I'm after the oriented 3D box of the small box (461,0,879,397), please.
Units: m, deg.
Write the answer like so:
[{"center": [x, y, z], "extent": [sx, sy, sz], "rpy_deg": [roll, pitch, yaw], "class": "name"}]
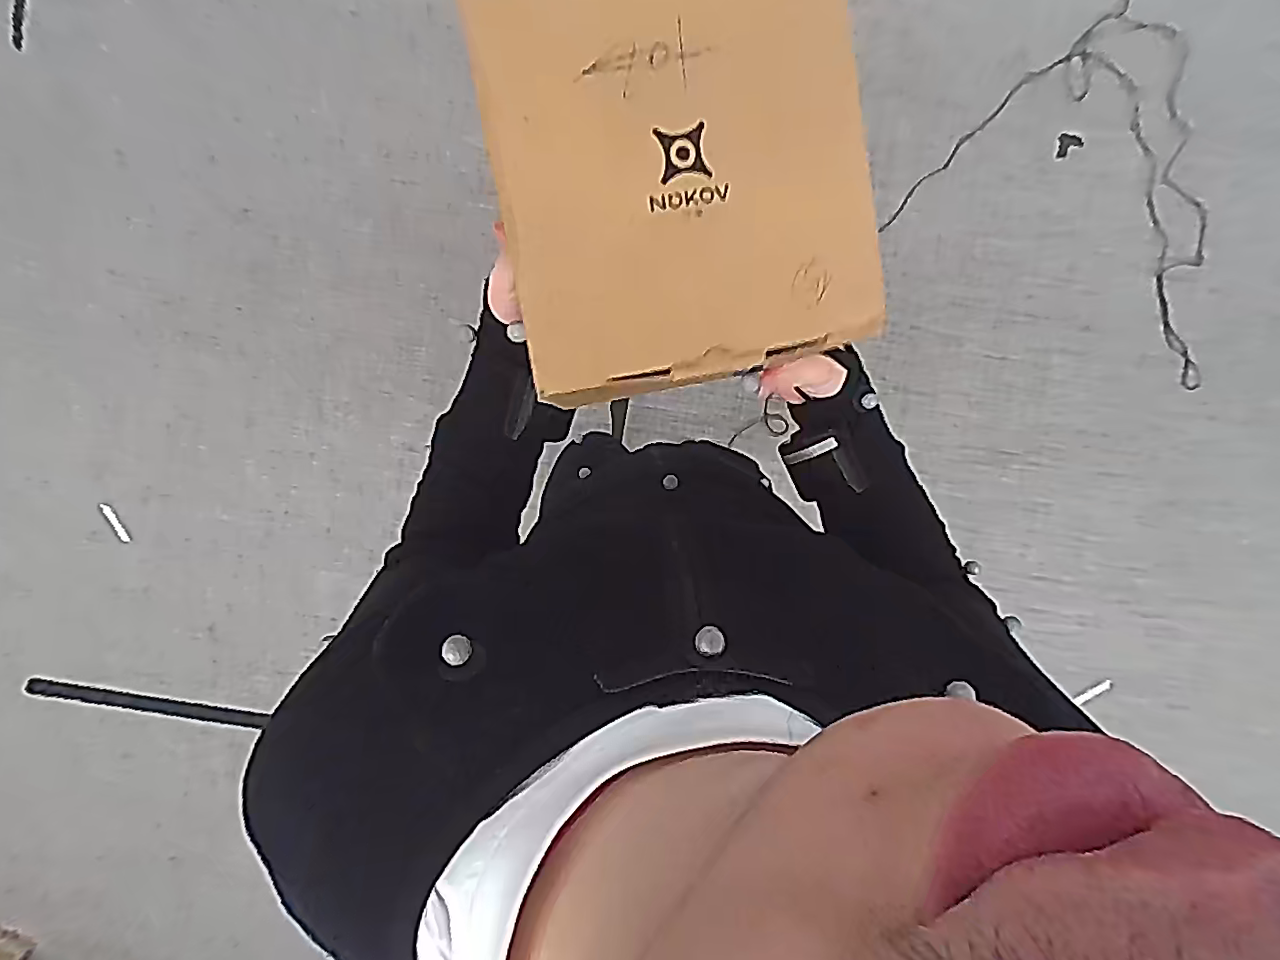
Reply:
[{"center": [0.012, -0.150, 0.325], "extent": [0.168, 0.176, 0.179], "rpy_deg": [-13, 95, -4], "class": "small box"}]
